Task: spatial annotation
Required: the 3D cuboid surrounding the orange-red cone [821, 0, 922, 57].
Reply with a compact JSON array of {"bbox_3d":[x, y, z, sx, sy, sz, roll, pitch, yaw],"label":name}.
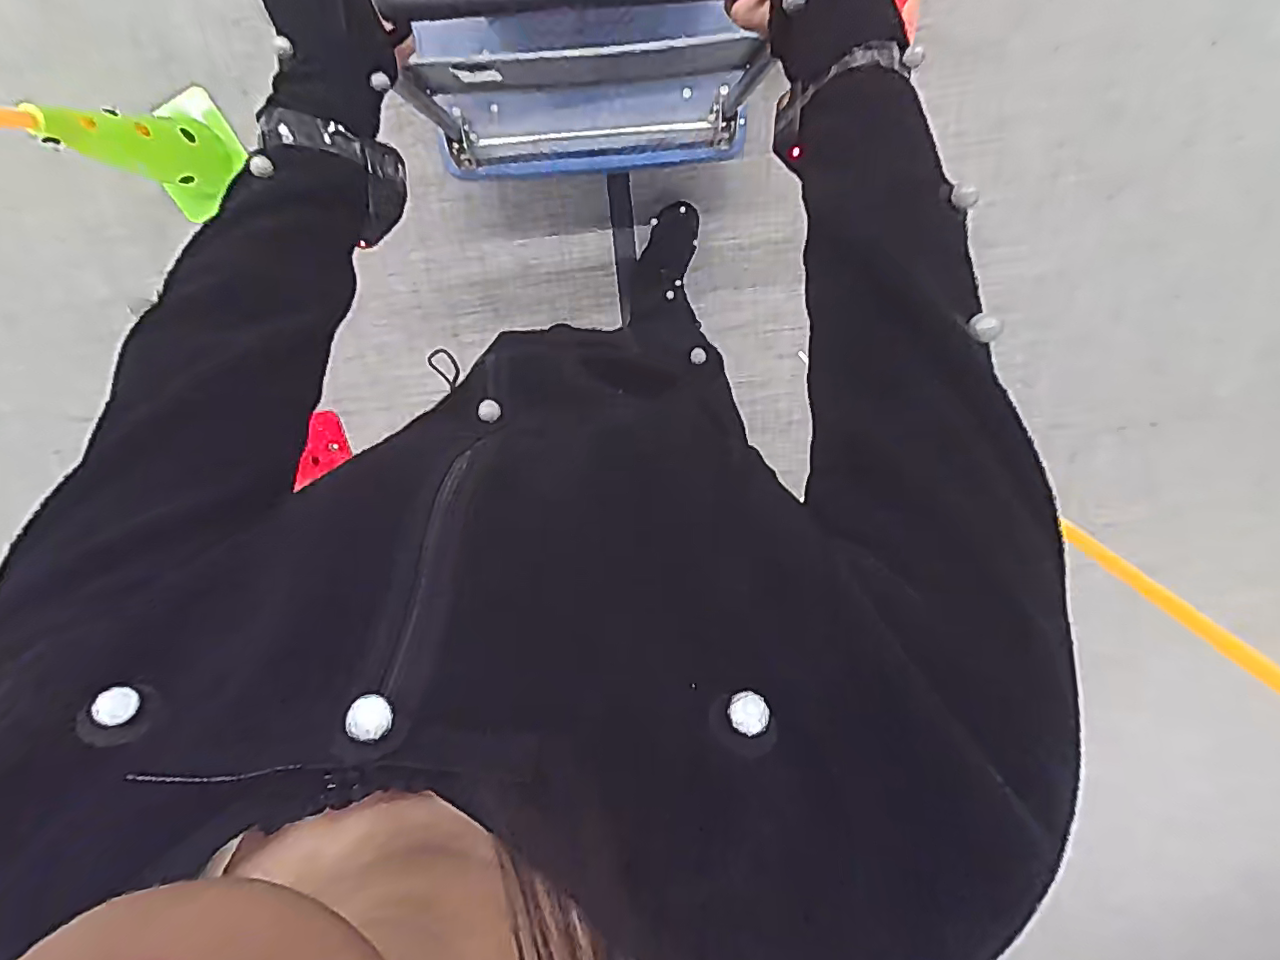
[{"bbox_3d":[0.477,-0.901,0.921,0.199,0.360,0.198,-1,113,-3],"label":"orange-red cone"}]
